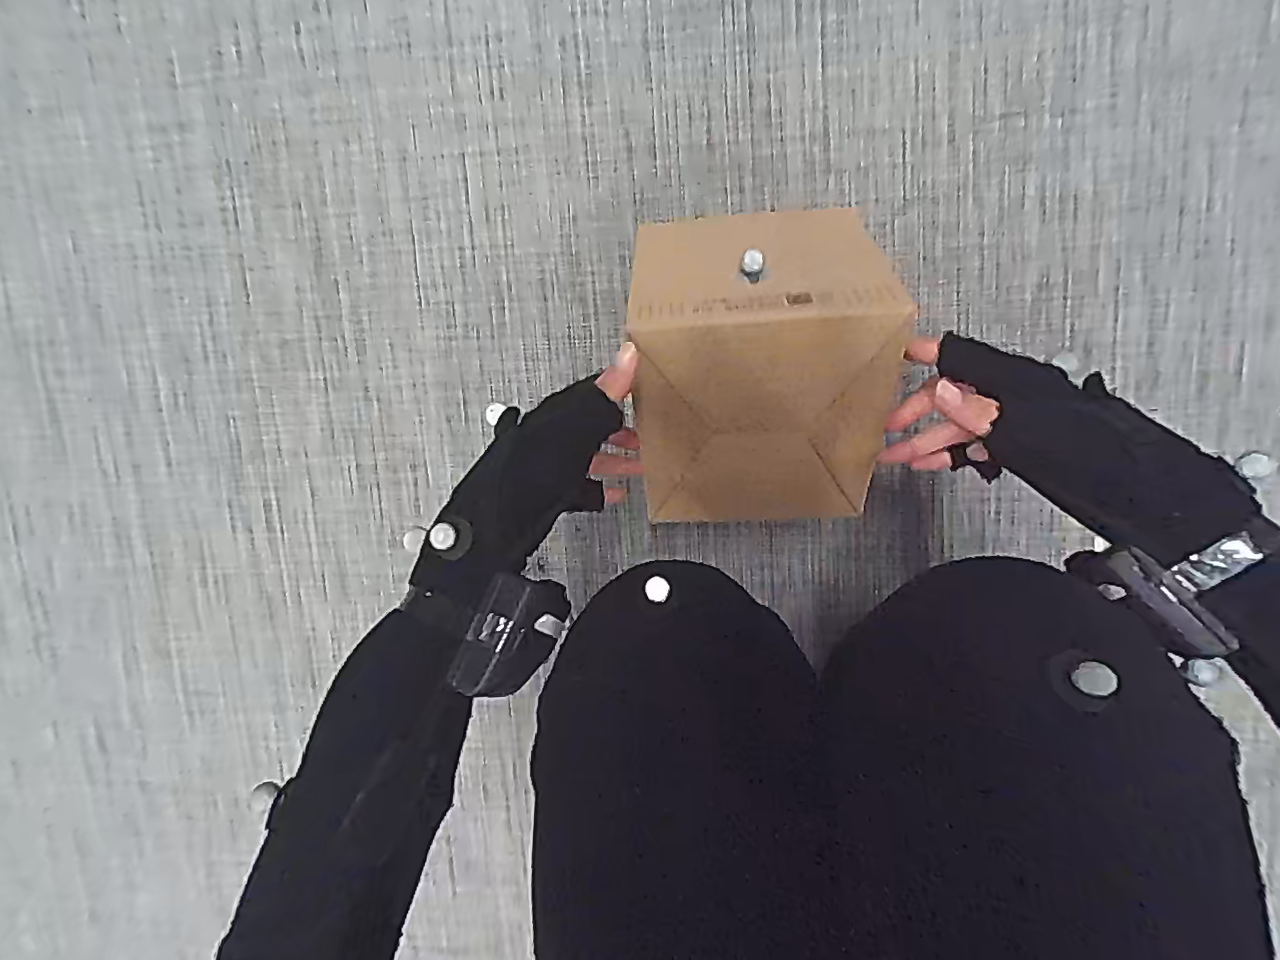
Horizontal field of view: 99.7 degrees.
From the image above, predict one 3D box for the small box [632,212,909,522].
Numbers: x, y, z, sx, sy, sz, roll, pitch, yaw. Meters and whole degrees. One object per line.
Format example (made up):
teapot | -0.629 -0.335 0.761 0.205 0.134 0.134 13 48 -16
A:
small box | 0.086 -0.082 0.423 0.168 0.176 0.179 -3 135 6
